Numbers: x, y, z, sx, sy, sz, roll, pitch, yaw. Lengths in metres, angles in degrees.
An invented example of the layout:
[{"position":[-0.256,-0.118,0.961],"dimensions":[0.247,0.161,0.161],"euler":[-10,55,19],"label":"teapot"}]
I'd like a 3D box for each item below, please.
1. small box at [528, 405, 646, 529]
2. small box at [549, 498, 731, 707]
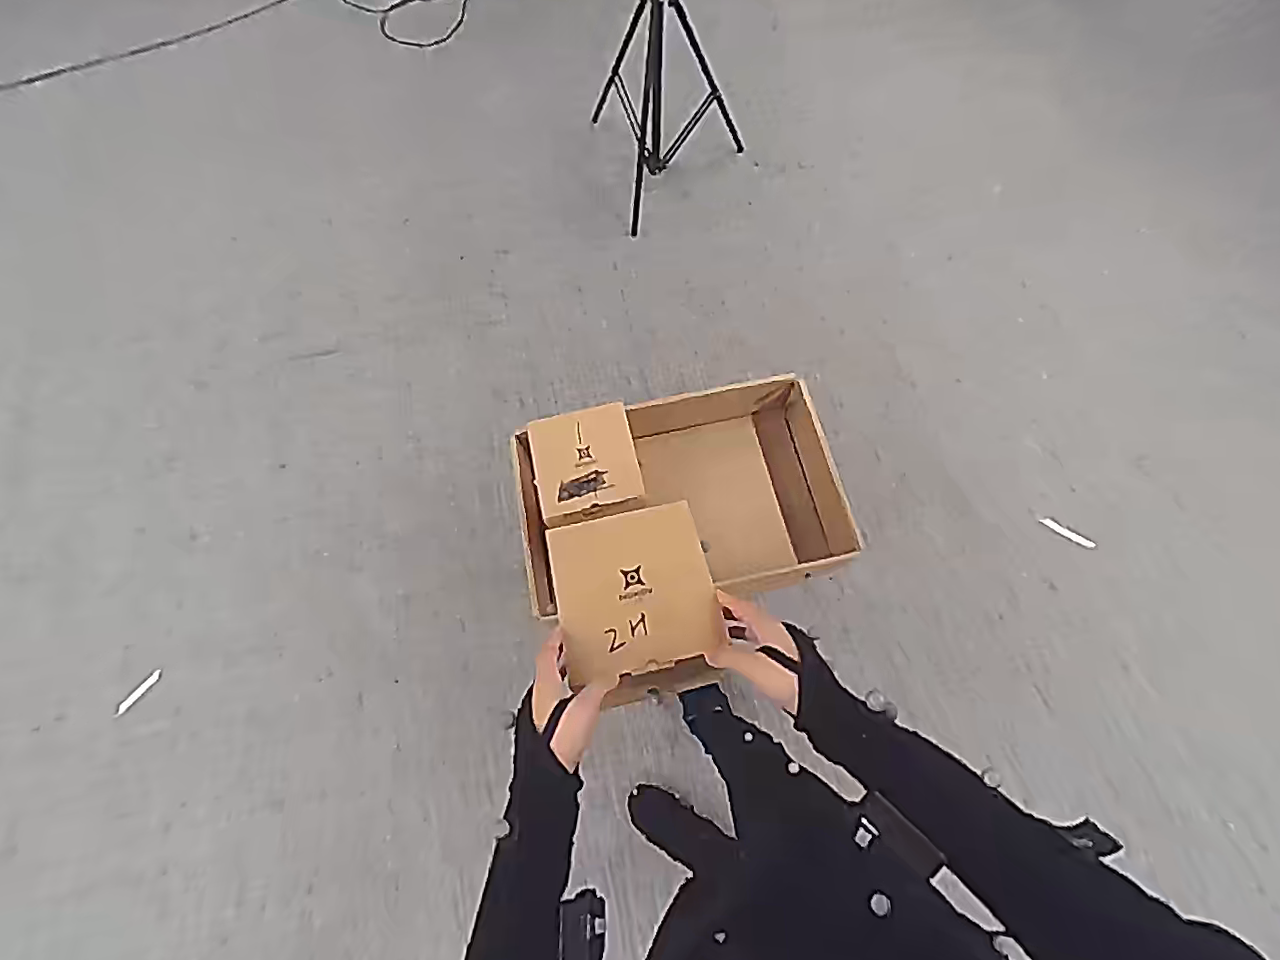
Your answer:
[{"position":[-0.084,-0.002,0.933],"dimensions":[0.168,0.176,0.179],"euler":[-13,69,-3],"label":"small box"},{"position":[-0.005,0.148,0.635],"dimensions":[0.168,0.176,0.179],"euler":[-12,60,-5],"label":"small box"}]
